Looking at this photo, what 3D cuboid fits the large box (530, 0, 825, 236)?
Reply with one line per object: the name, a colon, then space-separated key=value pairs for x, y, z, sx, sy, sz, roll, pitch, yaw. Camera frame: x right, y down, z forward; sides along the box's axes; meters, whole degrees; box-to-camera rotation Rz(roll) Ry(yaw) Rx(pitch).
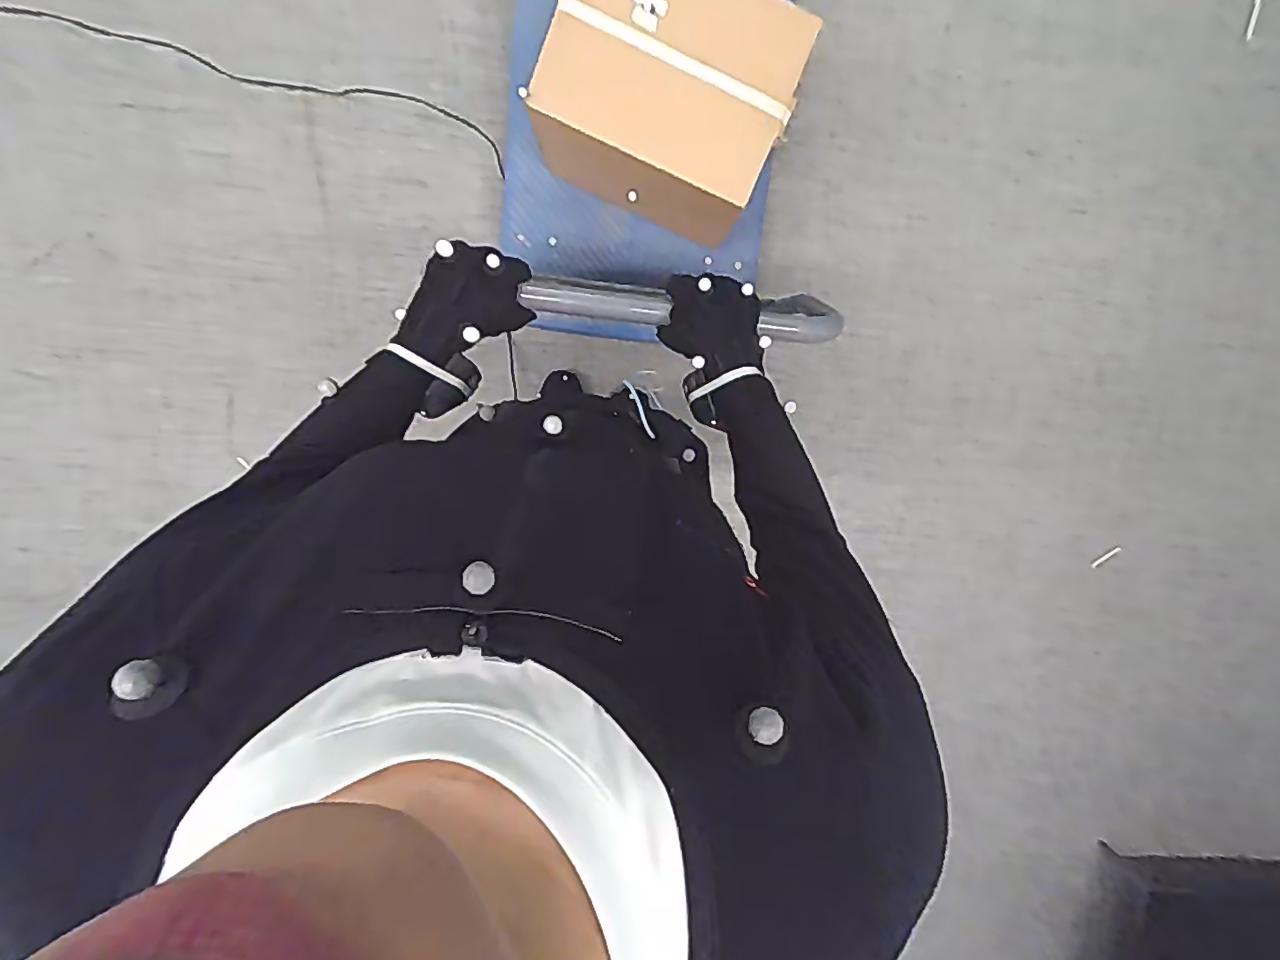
large box: x=0.058 y=-0.714 z=1.016 sx=0.408 sy=0.320 sz=0.320 roll=22 pitch=100 yaw=-6
